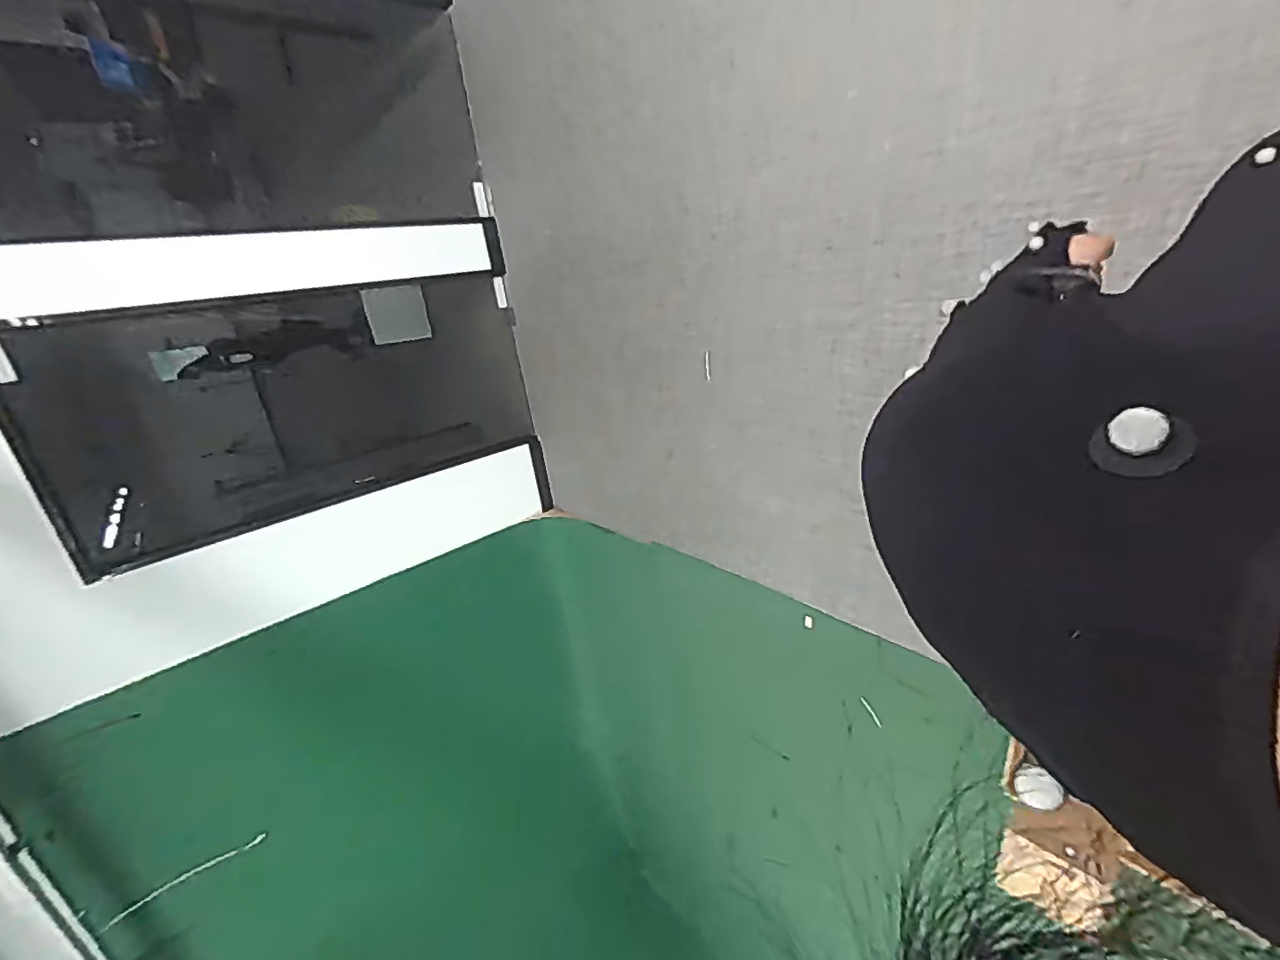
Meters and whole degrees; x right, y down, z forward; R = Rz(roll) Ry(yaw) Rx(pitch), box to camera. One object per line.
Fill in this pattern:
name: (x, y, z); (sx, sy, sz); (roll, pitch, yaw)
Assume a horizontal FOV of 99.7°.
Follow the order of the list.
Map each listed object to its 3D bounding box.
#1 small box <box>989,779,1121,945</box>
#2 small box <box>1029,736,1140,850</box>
small box: (0.840, 0.762, 1.096); (0.168, 0.176, 0.179); (17, 121, 47)
small box: (0.965, 0.715, 1.192); (0.168, 0.176, 0.179); (21, 122, 45)
